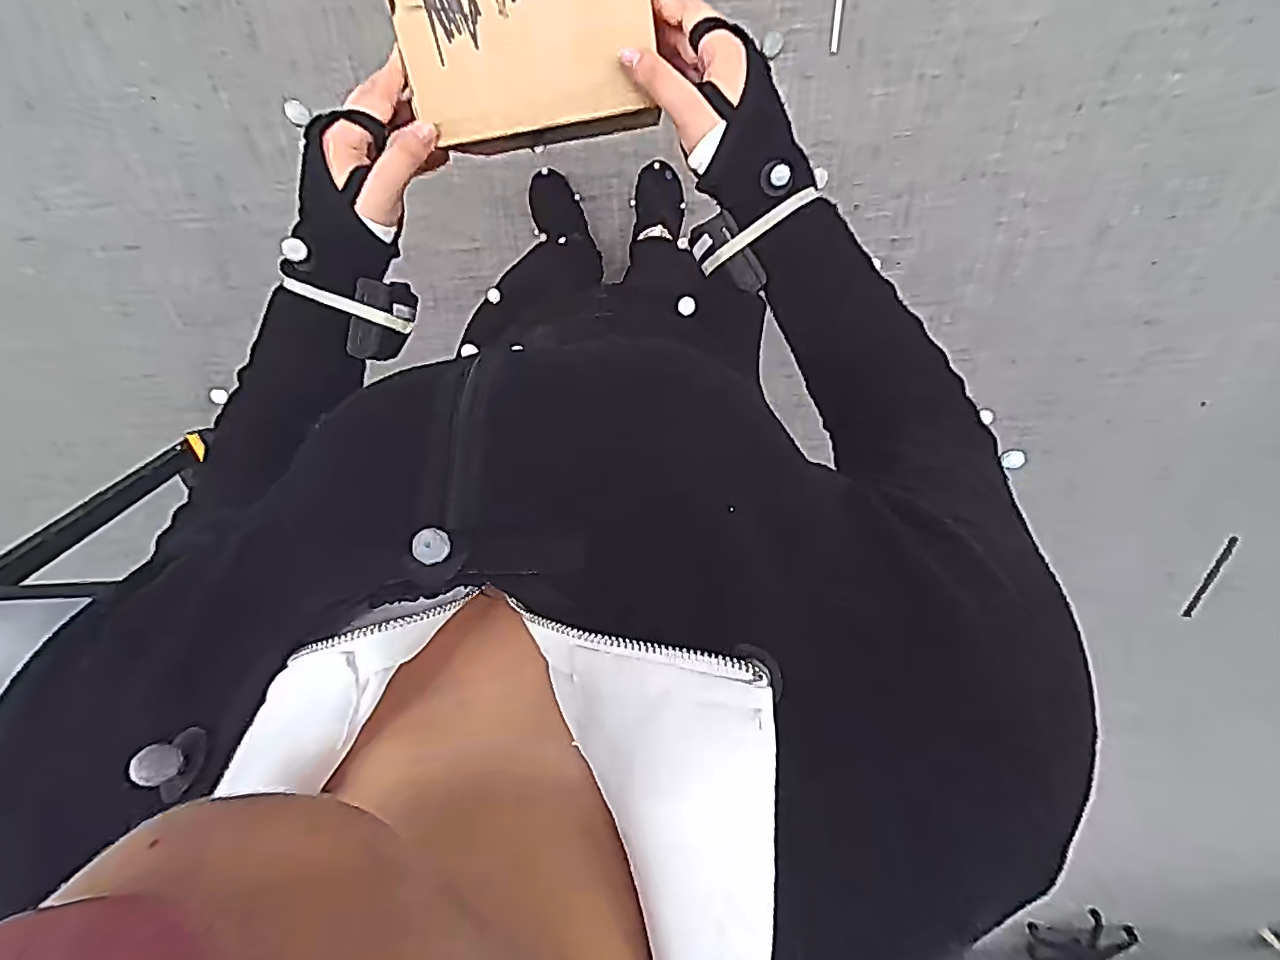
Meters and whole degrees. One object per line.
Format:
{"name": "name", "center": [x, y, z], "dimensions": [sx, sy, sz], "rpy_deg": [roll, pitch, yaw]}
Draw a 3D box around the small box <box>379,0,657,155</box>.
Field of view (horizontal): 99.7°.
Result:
{"name": "small box", "center": [-0.081, -0.355, 0.411], "dimensions": [0.179, 0.176, 0.168], "rpy_deg": [-7, 119, 4]}
